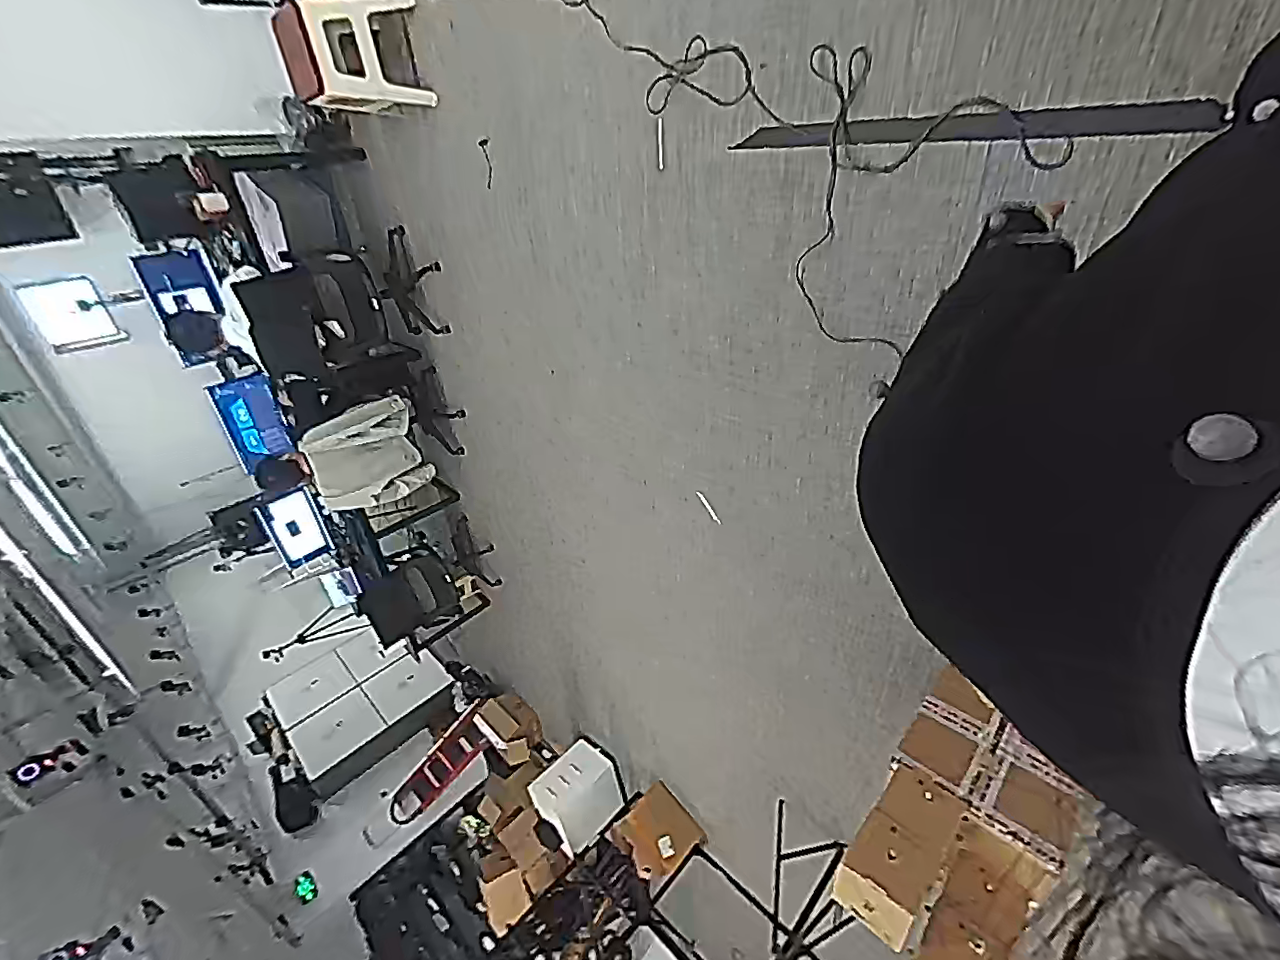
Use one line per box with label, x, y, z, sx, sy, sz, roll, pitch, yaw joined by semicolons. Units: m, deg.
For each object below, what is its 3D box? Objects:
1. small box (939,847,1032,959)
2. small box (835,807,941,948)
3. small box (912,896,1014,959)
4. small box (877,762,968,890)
small box;0.846;1.075;1.346;0.168;0.176;0.179;23;128;37
small box;0.586;0.926;1.274;0.168;0.176;0.179;24;129;39
small box;0.729;1.120;1.238;0.168;0.176;0.179;21;127;37
small box;0.705;0.869;1.372;0.168;0.176;0.179;22;127;39
